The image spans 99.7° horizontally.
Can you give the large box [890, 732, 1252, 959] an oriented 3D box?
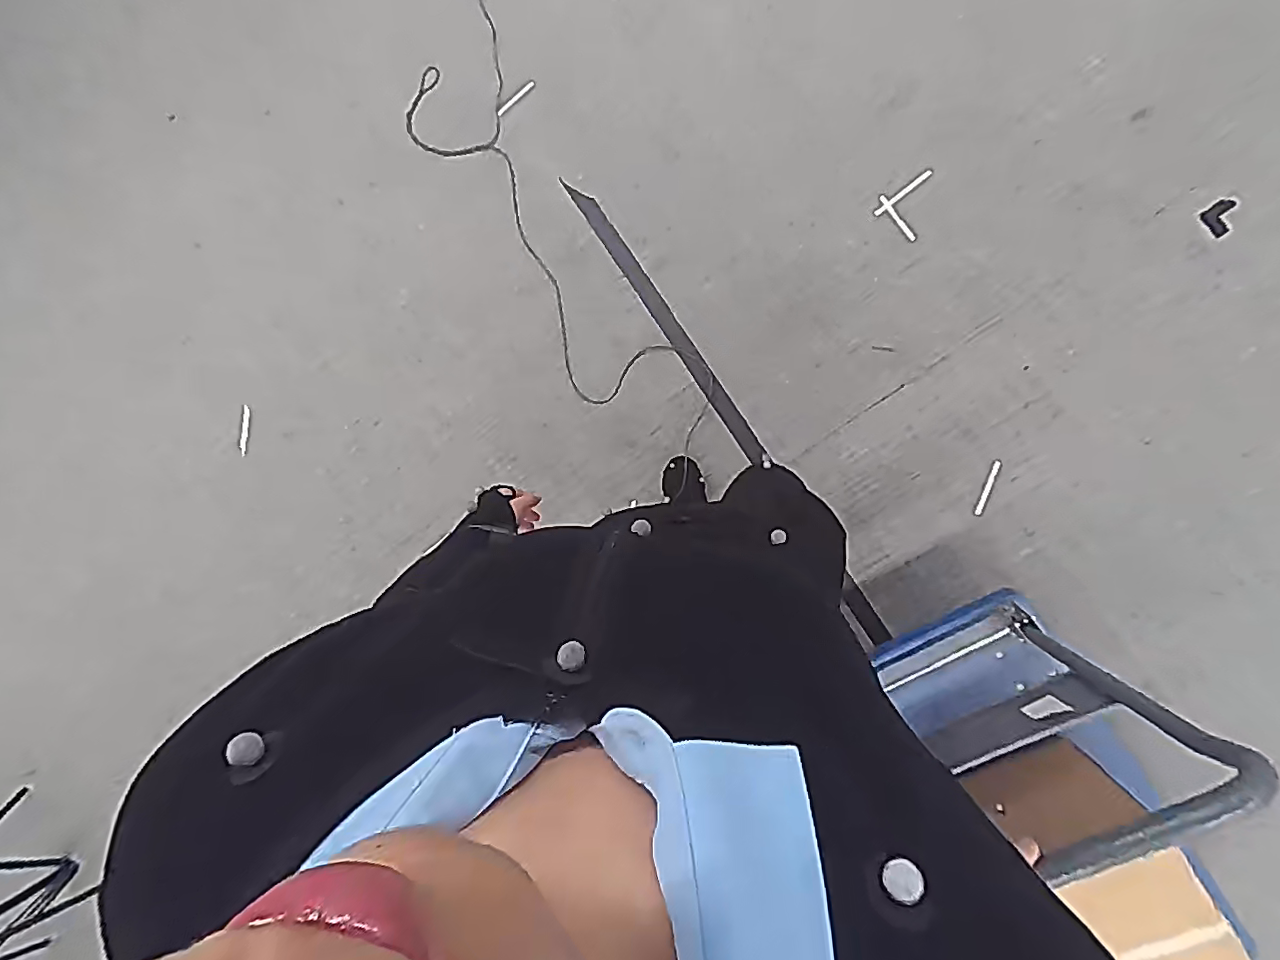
[{"bbox_3d":[0.774,0.767,1.037,0.408,0.320,0.320,-31,87,11],"label":"large box"}]
